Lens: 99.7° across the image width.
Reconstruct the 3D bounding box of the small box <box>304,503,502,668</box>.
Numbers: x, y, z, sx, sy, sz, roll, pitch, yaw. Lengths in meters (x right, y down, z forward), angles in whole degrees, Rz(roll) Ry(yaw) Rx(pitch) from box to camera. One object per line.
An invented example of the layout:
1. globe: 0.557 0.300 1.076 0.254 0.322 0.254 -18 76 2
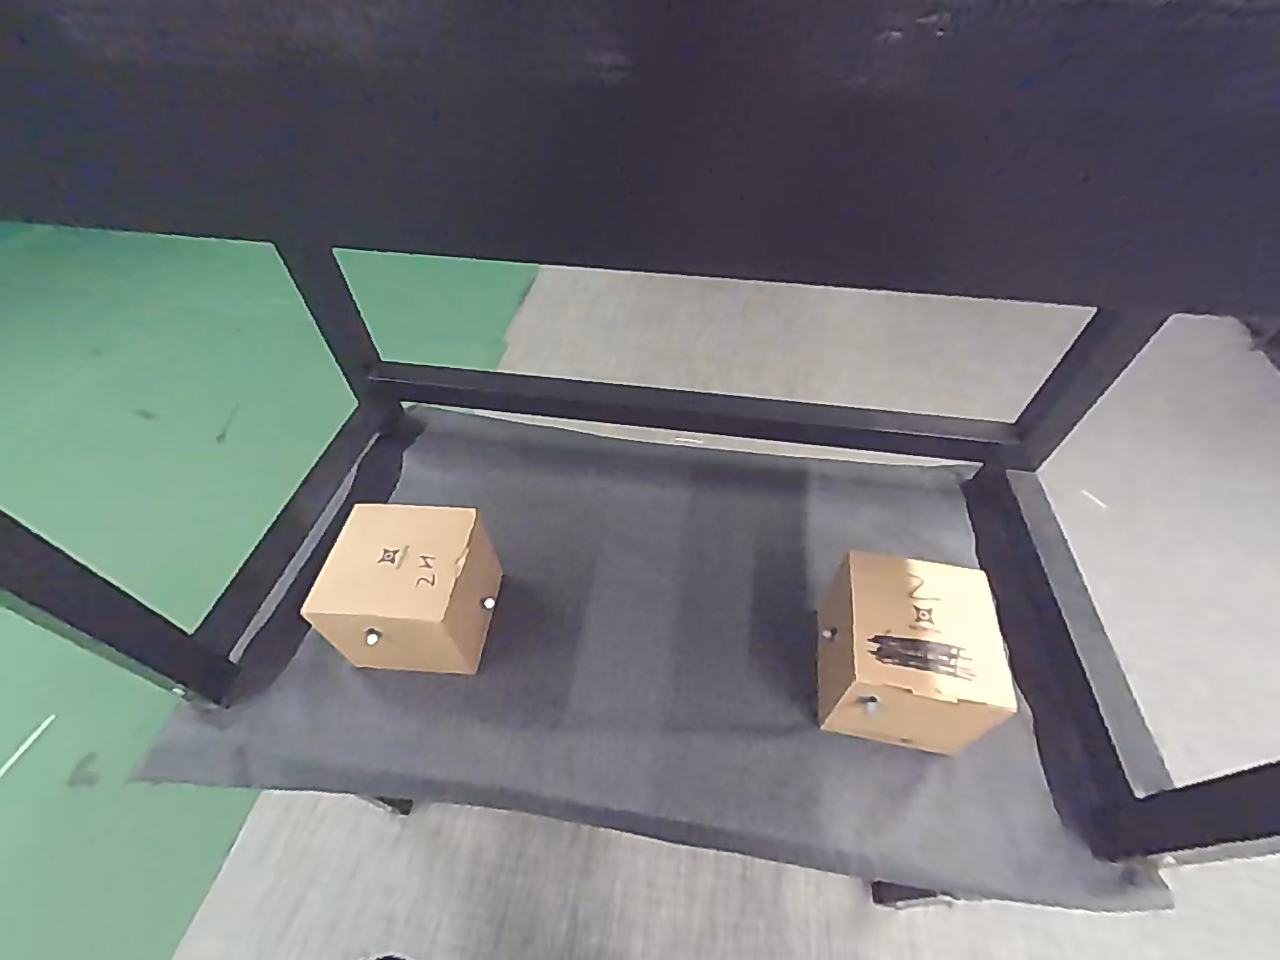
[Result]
1. small box: -0.310 0.150 0.752 0.179 0.176 0.168 3 50 3
